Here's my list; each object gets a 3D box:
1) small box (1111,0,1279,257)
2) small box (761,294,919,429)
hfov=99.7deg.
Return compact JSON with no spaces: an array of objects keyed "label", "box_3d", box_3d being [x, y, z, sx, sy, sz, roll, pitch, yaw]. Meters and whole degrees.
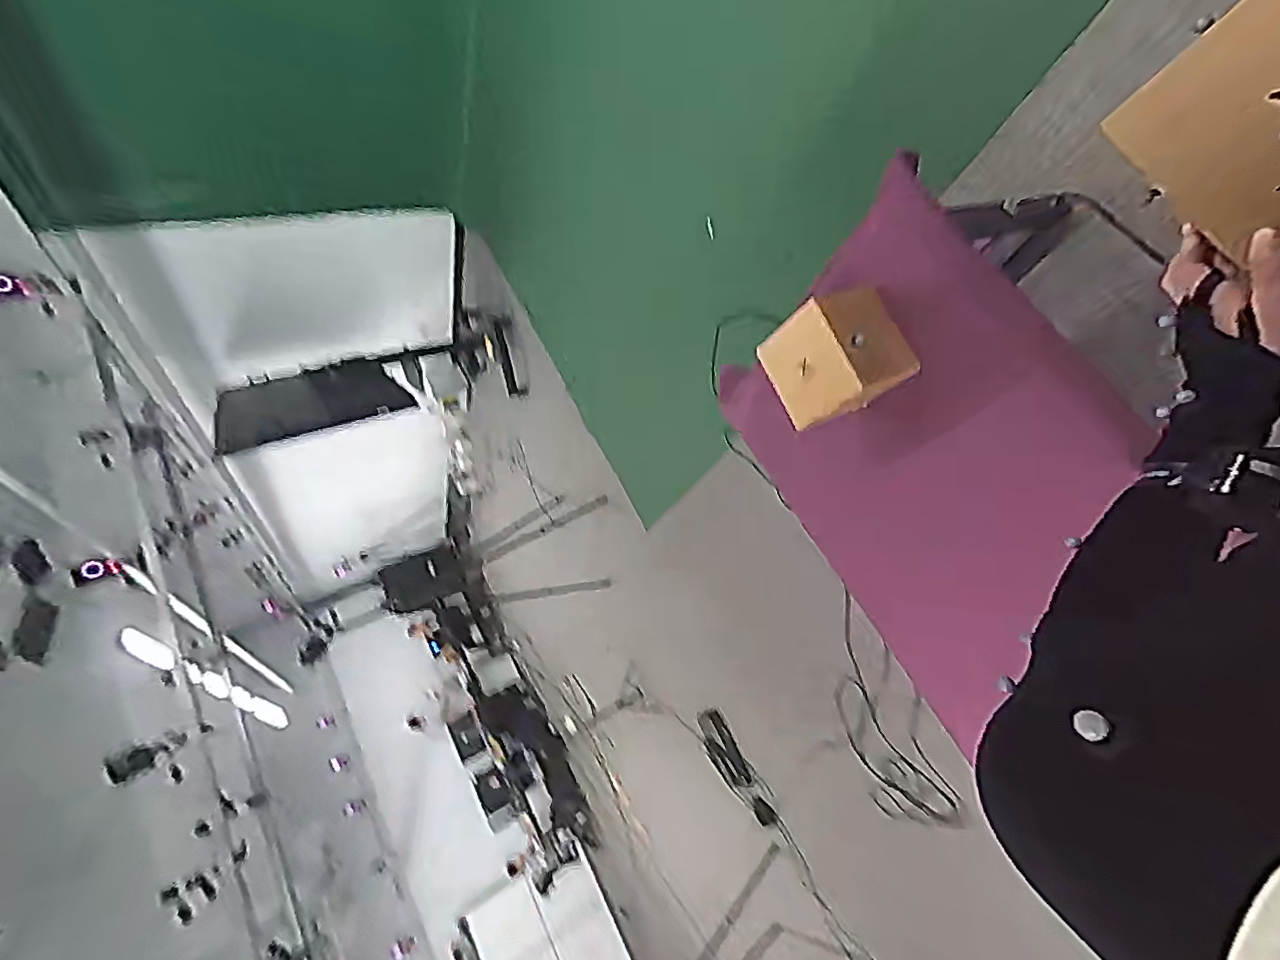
[{"label":"small box","box_3d":[0.529,-0.313,0.440,0.179,0.176,0.168,51,136,4]},{"label":"small box","box_3d":[0.363,-0.220,0.990,0.179,0.176,0.168,63,151,9]}]
